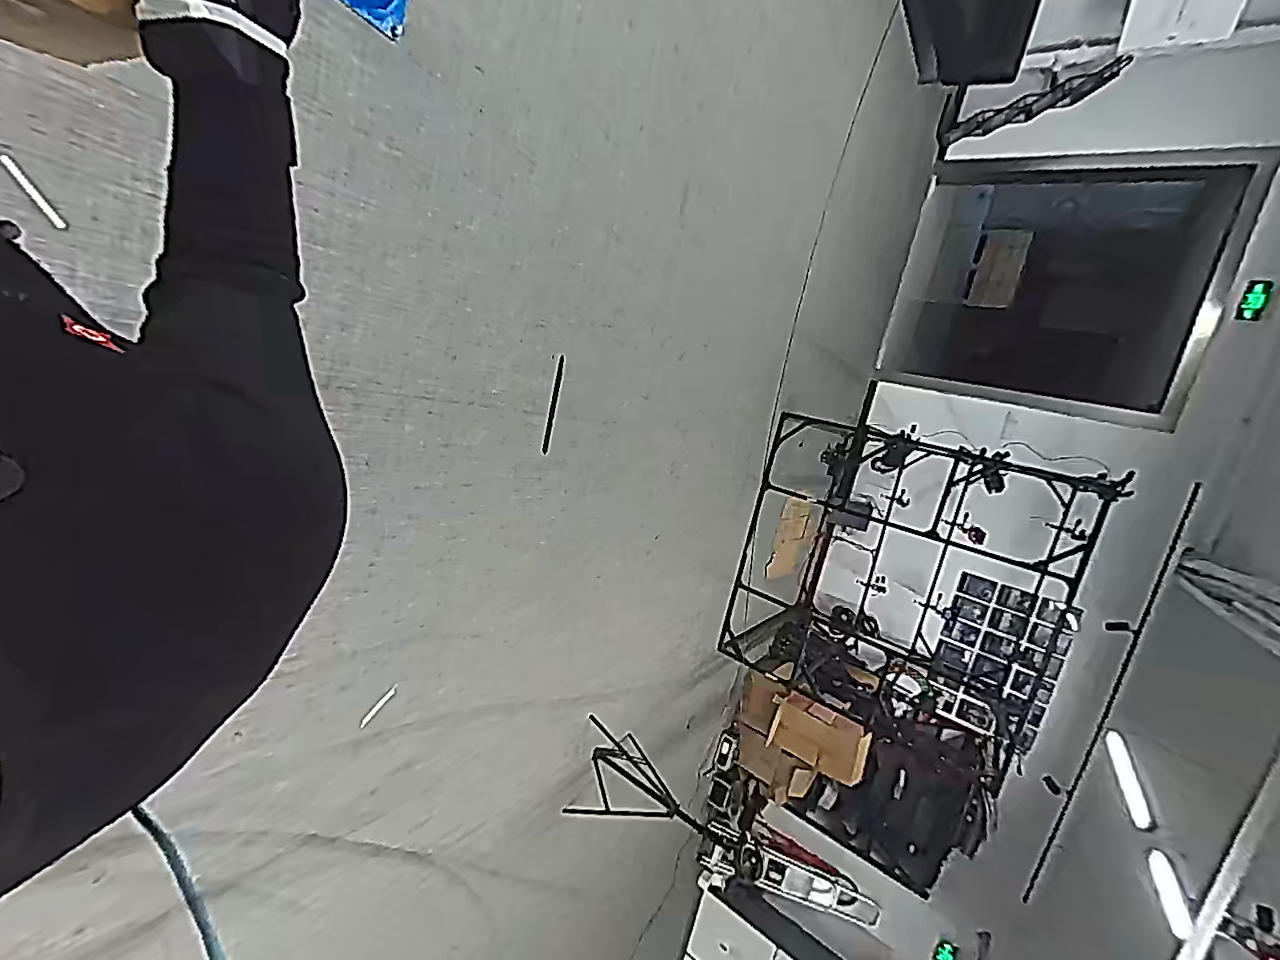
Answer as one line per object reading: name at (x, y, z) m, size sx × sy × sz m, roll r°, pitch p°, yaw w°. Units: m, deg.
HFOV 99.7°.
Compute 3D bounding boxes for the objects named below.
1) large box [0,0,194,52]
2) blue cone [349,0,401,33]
large box at (-0.504, -0.469, 0.238) m, size 0.408 × 0.320 × 0.320 m, roll -12°, pitch 122°, yaw -54°
blue cone at (-0.498, -1.141, 1.164) m, size 0.192 × 0.380 × 0.193 m, roll 5°, pitch 102°, yaw -58°
